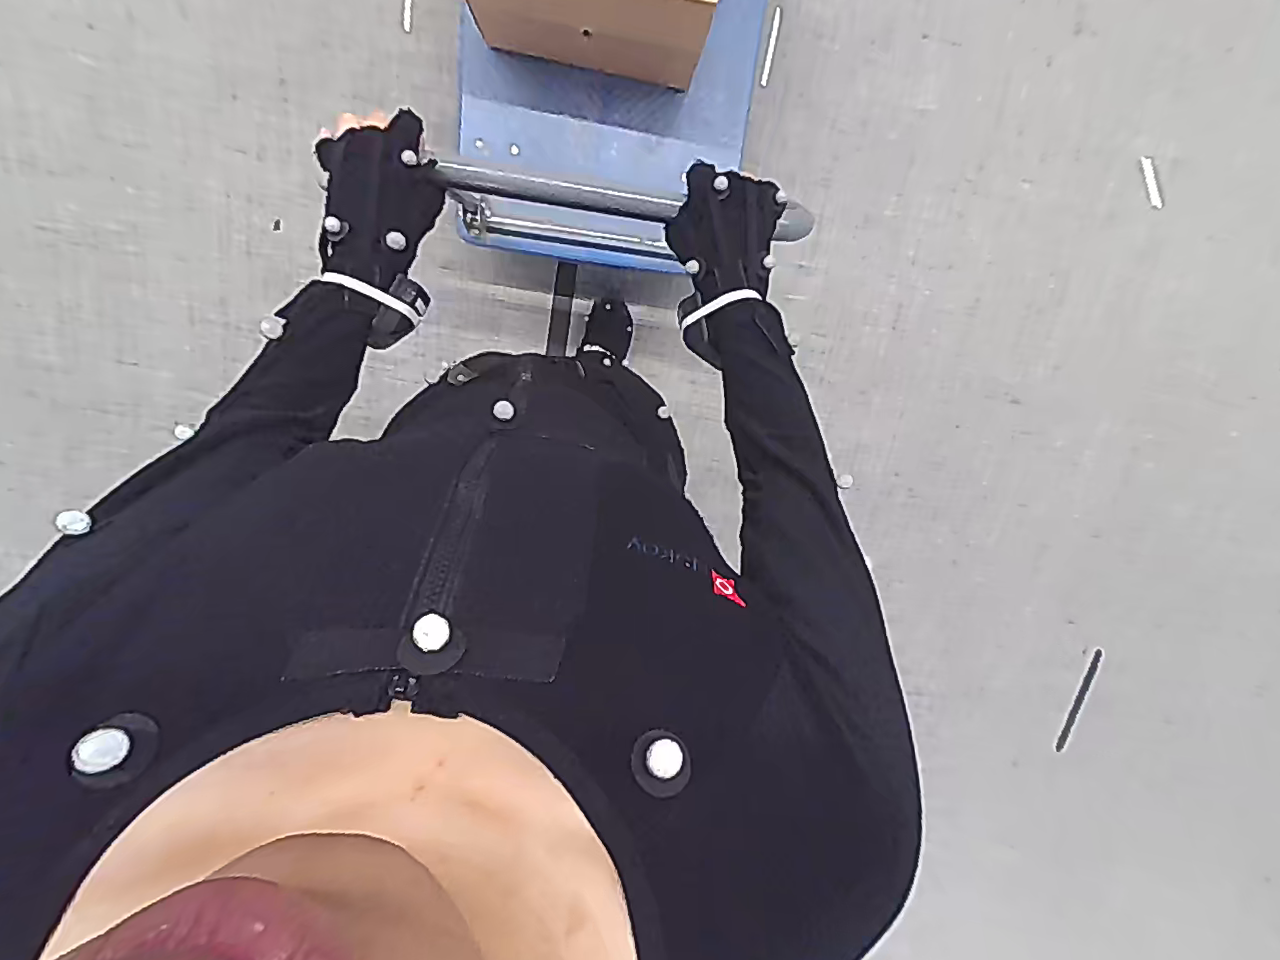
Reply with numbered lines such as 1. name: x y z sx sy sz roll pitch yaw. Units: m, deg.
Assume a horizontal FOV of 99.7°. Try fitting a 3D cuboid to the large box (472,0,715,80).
1. large box: -0.066 -0.925 0.891 0.408 0.320 0.320 8 105 -5
